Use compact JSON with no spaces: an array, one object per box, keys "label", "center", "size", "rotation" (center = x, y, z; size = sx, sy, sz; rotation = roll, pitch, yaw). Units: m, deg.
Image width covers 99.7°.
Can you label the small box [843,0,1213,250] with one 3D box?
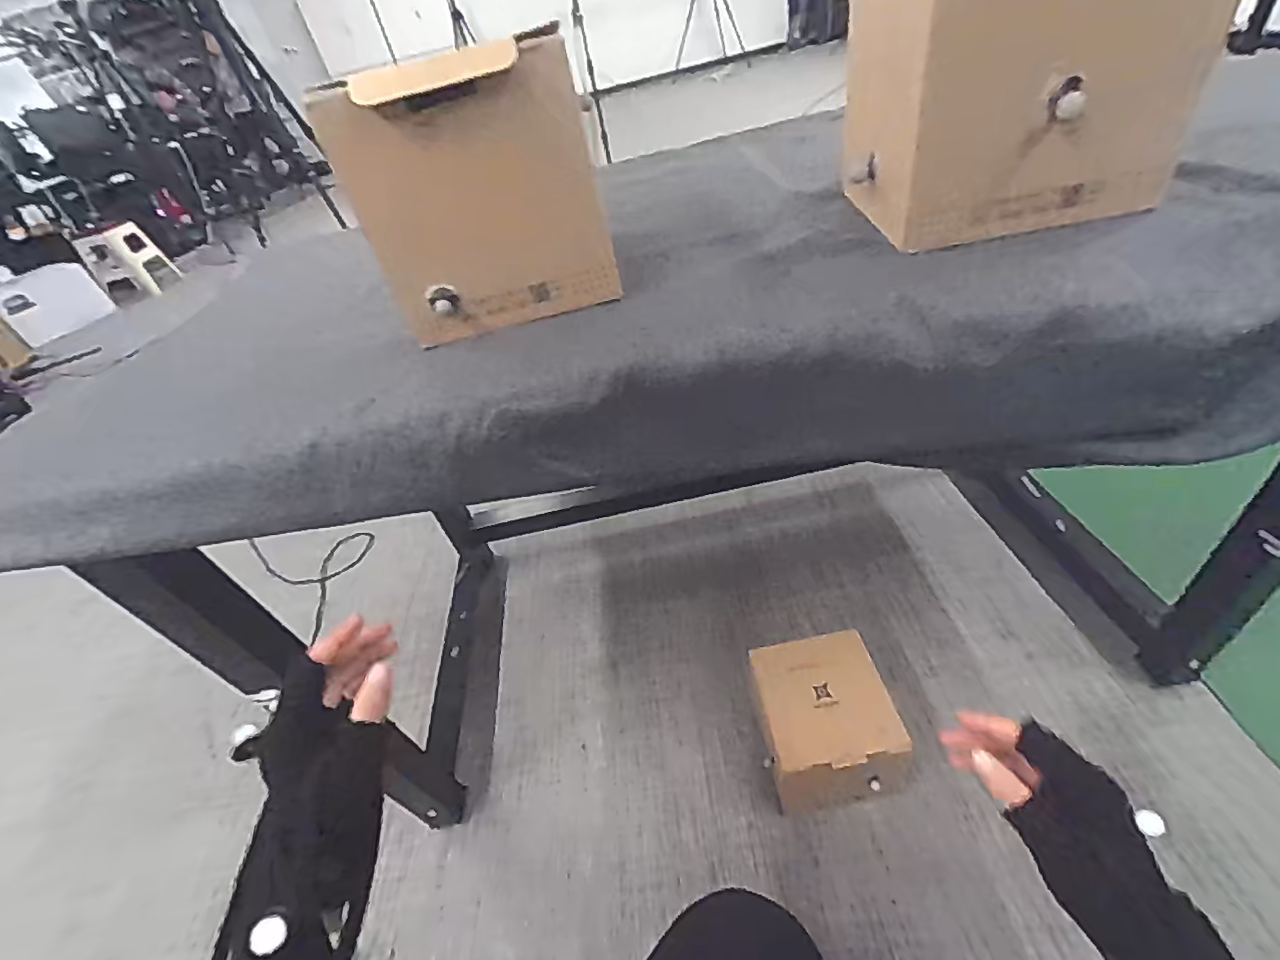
[{"label":"small box","center":[0.252,-0.281,0.389],"size":[0.168,0.176,0.179],"rotation":[-8,41,9]}]

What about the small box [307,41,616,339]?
[{"label":"small box","center":[-0.122,-0.231,0.443],"size":[0.168,0.176,0.179],"rotation":[-14,38,0]}]

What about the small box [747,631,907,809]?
[{"label":"small box","center":[0.262,0.354,0.788],"size":[0.168,0.176,0.179],"rotation":[-12,39,2]}]
